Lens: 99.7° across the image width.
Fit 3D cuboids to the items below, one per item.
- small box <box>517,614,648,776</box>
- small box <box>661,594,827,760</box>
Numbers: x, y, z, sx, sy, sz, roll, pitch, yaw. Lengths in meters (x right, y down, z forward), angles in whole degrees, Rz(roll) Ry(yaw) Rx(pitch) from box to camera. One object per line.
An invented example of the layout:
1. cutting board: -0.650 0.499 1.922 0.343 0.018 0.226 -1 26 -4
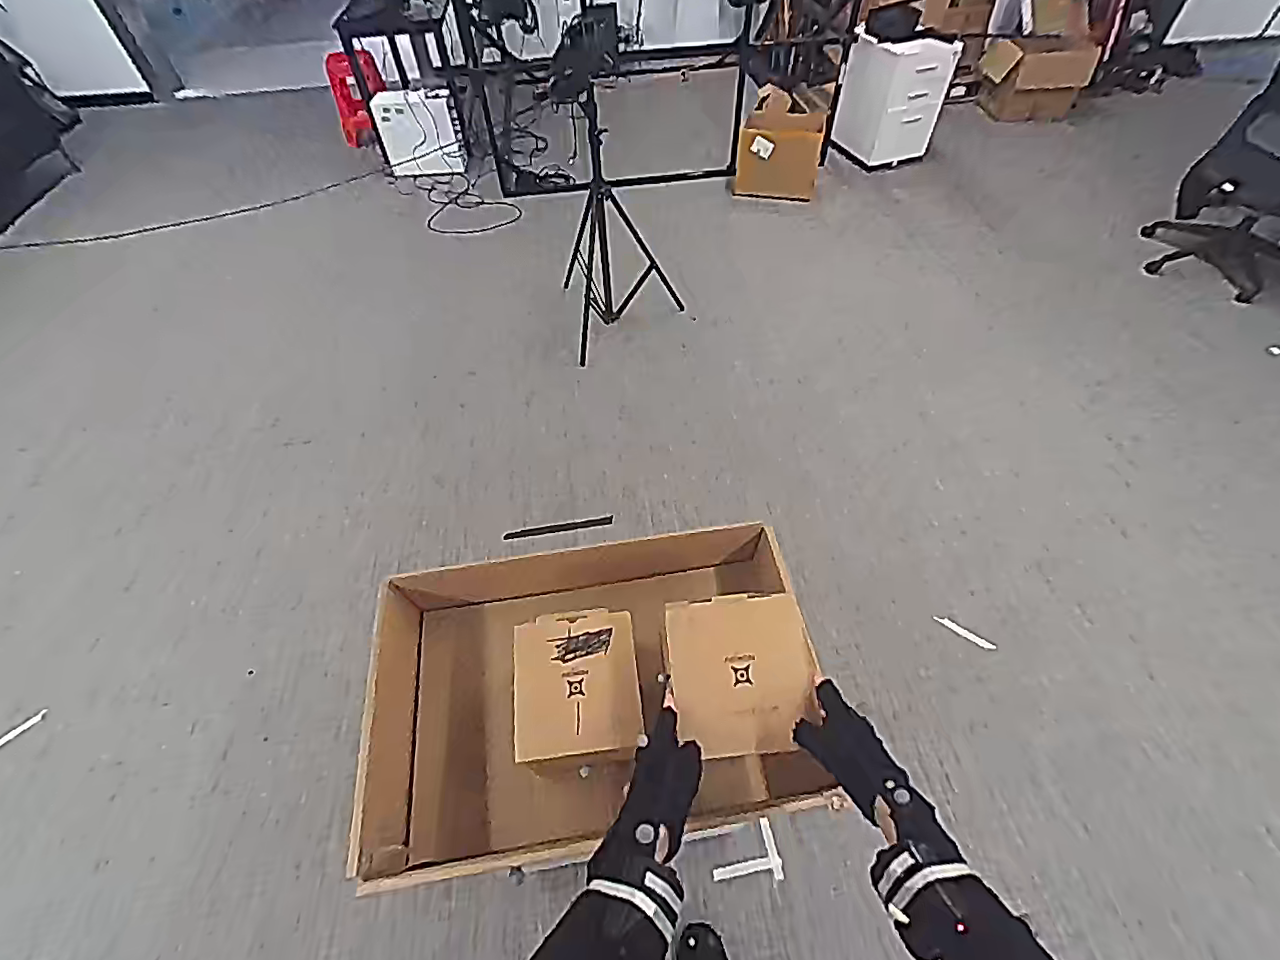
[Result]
1. small box: -0.081 0.313 0.781 0.168 0.176 0.179 -7 58 -3
2. small box: 0.119 0.261 0.705 0.168 0.176 0.179 -5 64 -3
